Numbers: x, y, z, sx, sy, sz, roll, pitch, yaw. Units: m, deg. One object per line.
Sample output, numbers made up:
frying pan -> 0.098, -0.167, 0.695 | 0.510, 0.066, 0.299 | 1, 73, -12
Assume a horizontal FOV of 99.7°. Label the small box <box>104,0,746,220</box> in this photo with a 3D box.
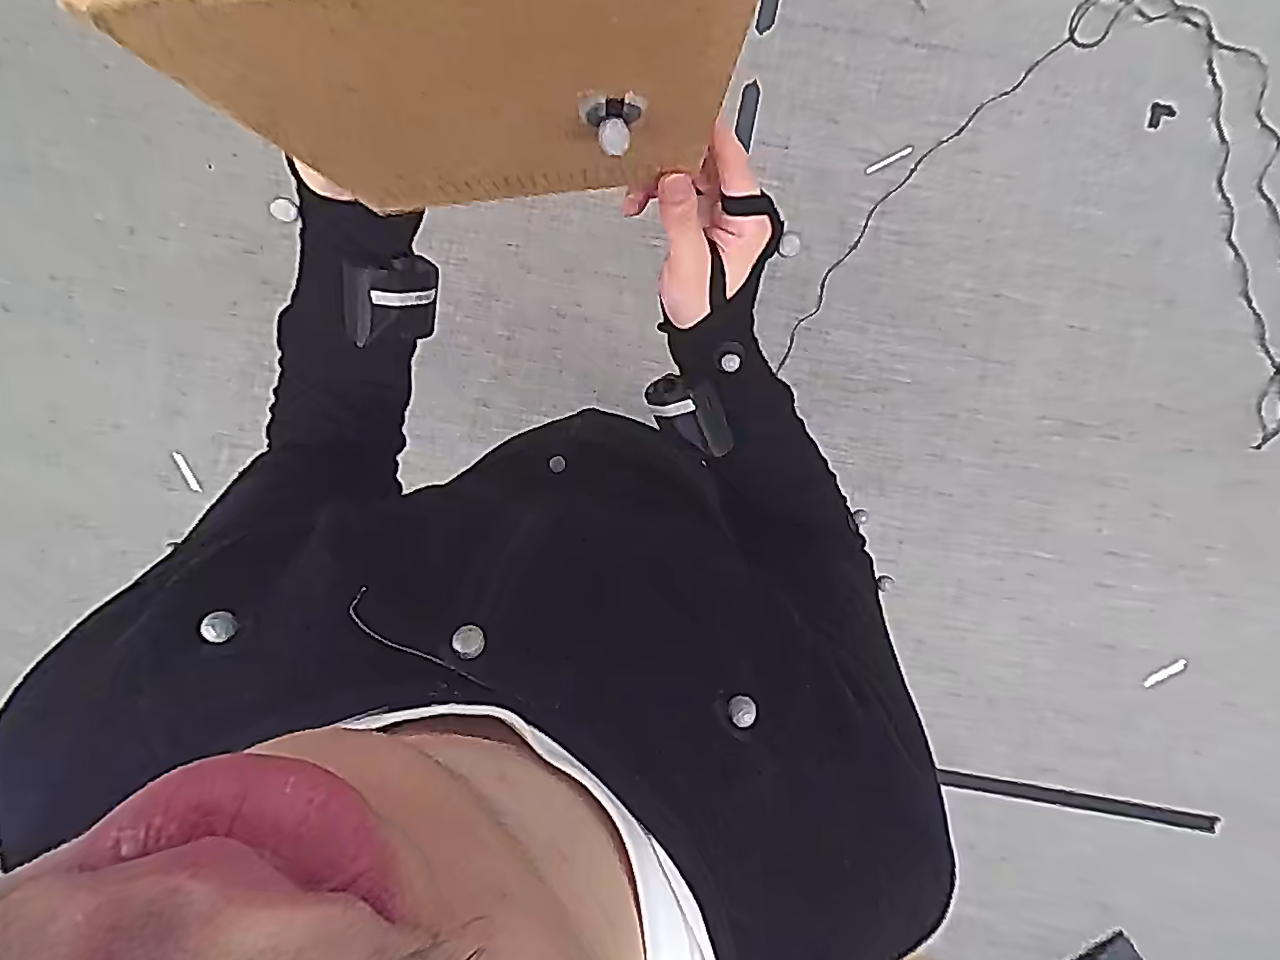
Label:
small box -> -0.065, -0.218, 0.208 | 0.179, 0.176, 0.168 | -8, 100, 1
